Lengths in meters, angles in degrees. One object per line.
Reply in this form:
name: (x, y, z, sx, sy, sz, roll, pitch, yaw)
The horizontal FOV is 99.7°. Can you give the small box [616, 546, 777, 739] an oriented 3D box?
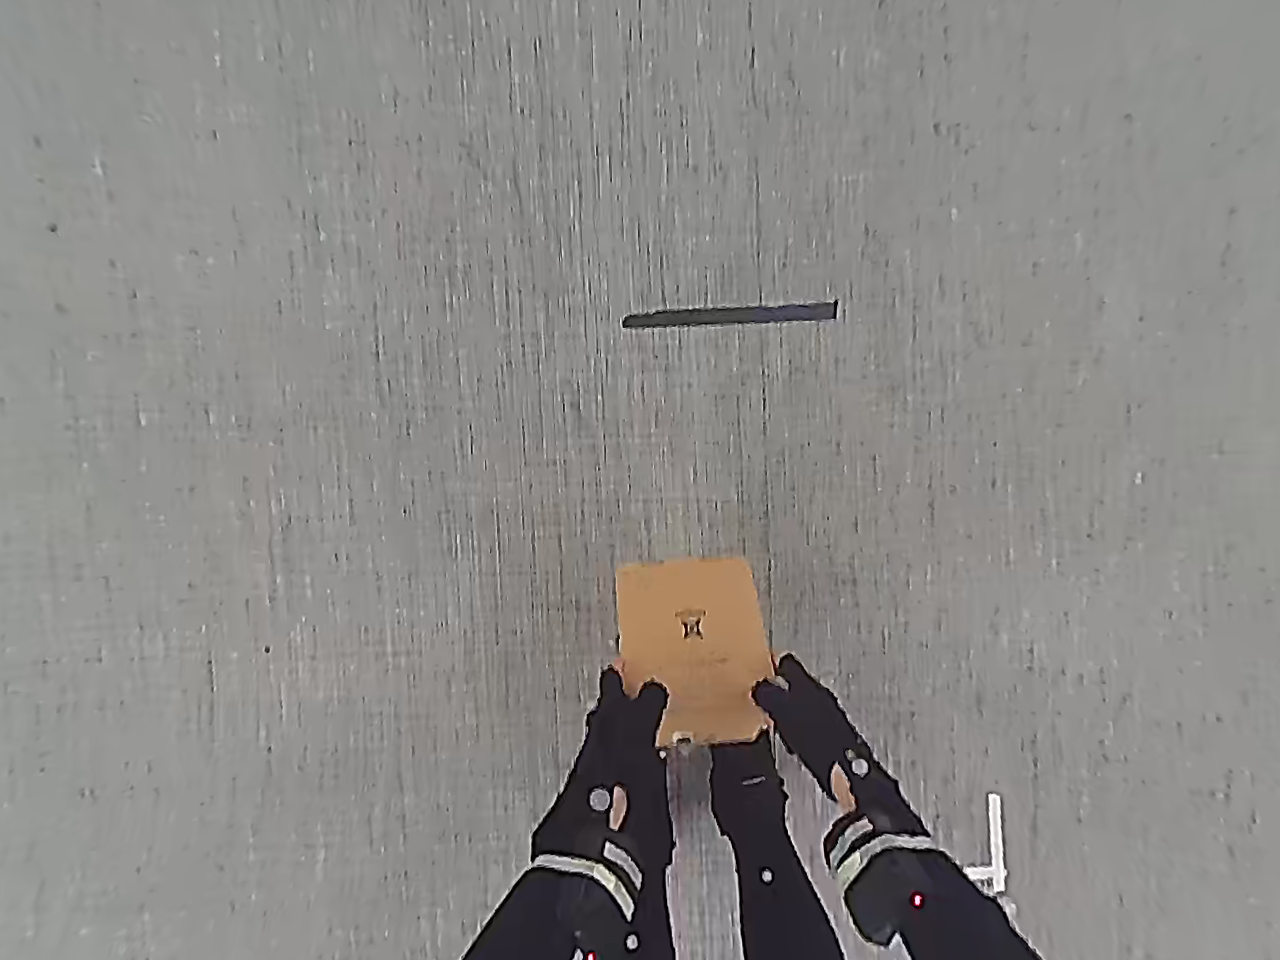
small box: (0.057, 0.204, 0.675, 0.168, 0.176, 0.179, -4, 52, -2)
